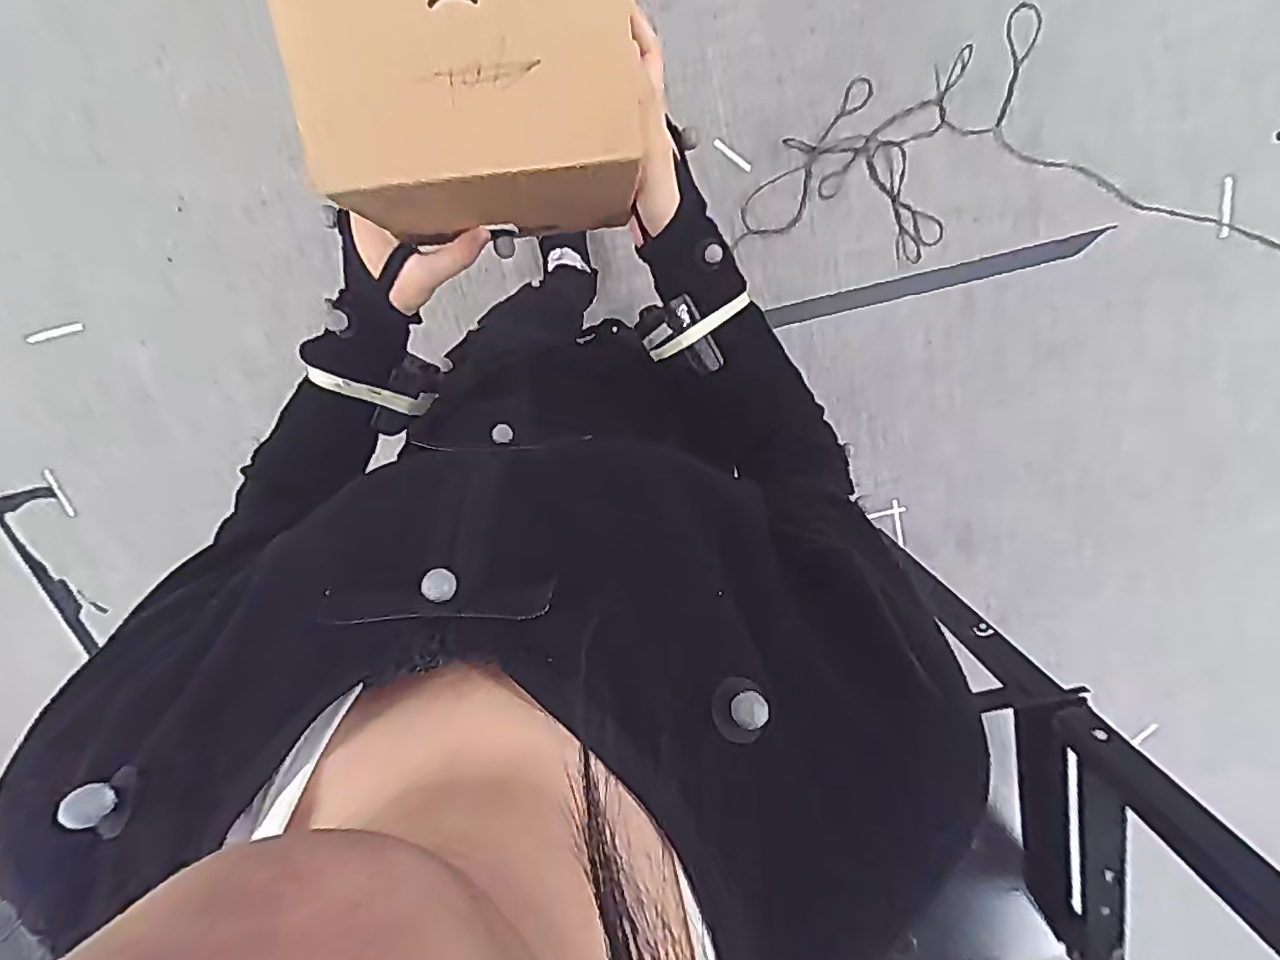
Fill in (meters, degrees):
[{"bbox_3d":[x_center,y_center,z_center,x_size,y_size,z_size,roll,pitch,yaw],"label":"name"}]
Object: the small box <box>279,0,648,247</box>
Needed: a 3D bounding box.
[{"bbox_3d":[-0.091,-0.256,0.326,0.168,0.176,0.179,-8,105,-2],"label":"small box"}]
